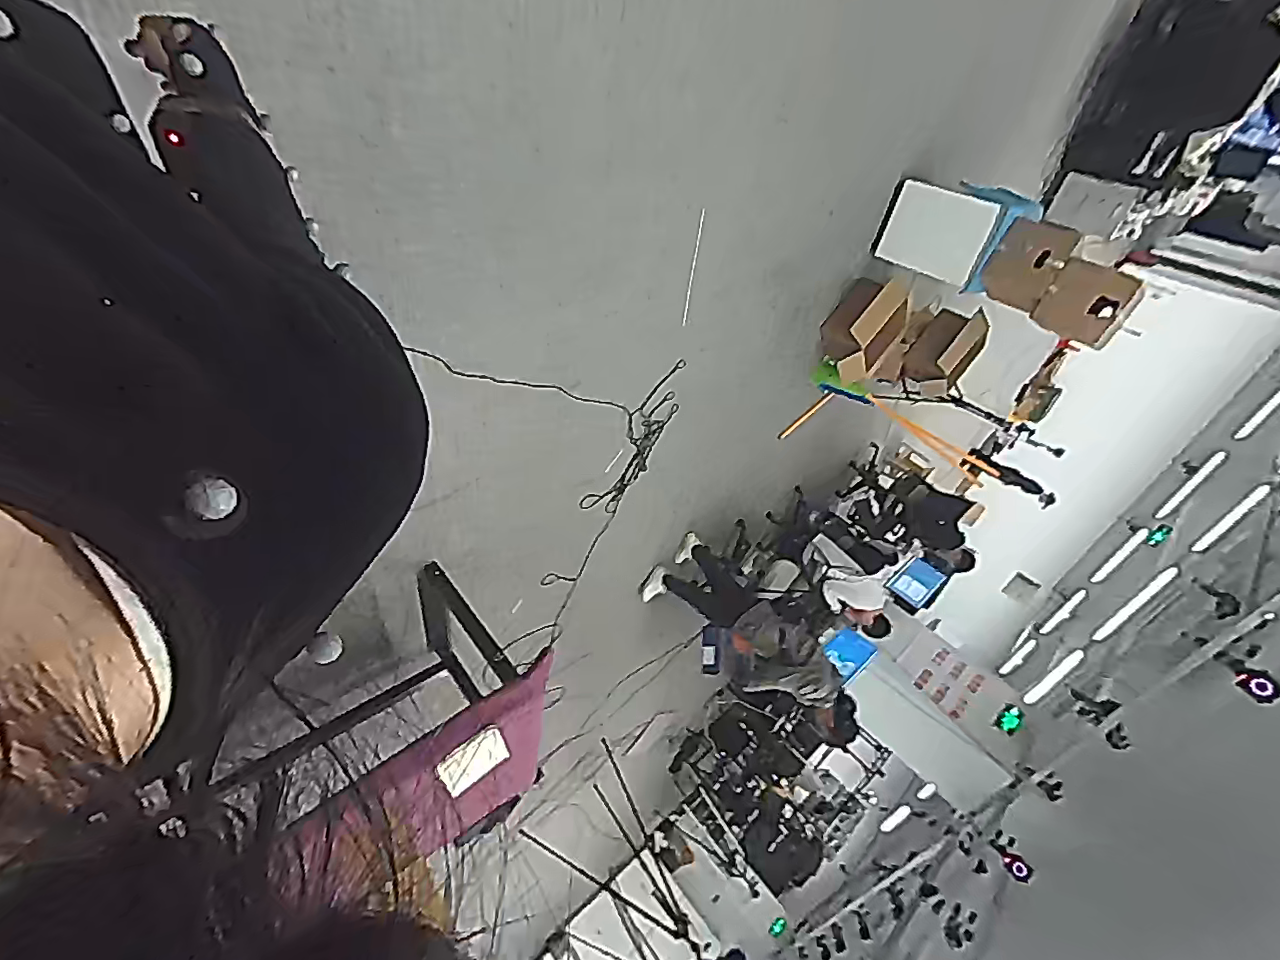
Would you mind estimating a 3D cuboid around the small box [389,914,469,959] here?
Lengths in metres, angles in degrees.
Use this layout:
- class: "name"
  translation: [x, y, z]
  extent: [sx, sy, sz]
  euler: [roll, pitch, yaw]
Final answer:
- class: "small box"
  translation: [-0.513, 1.209, 1.298]
  extent: [0.179, 0.176, 0.168]
  euler: [-22, 141, -39]

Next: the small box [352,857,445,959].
- class: "small box"
  translation: [-0.618, 1.120, 1.390]
  extent: [0.168, 0.176, 0.179]
  euler: [-24, 141, -38]
